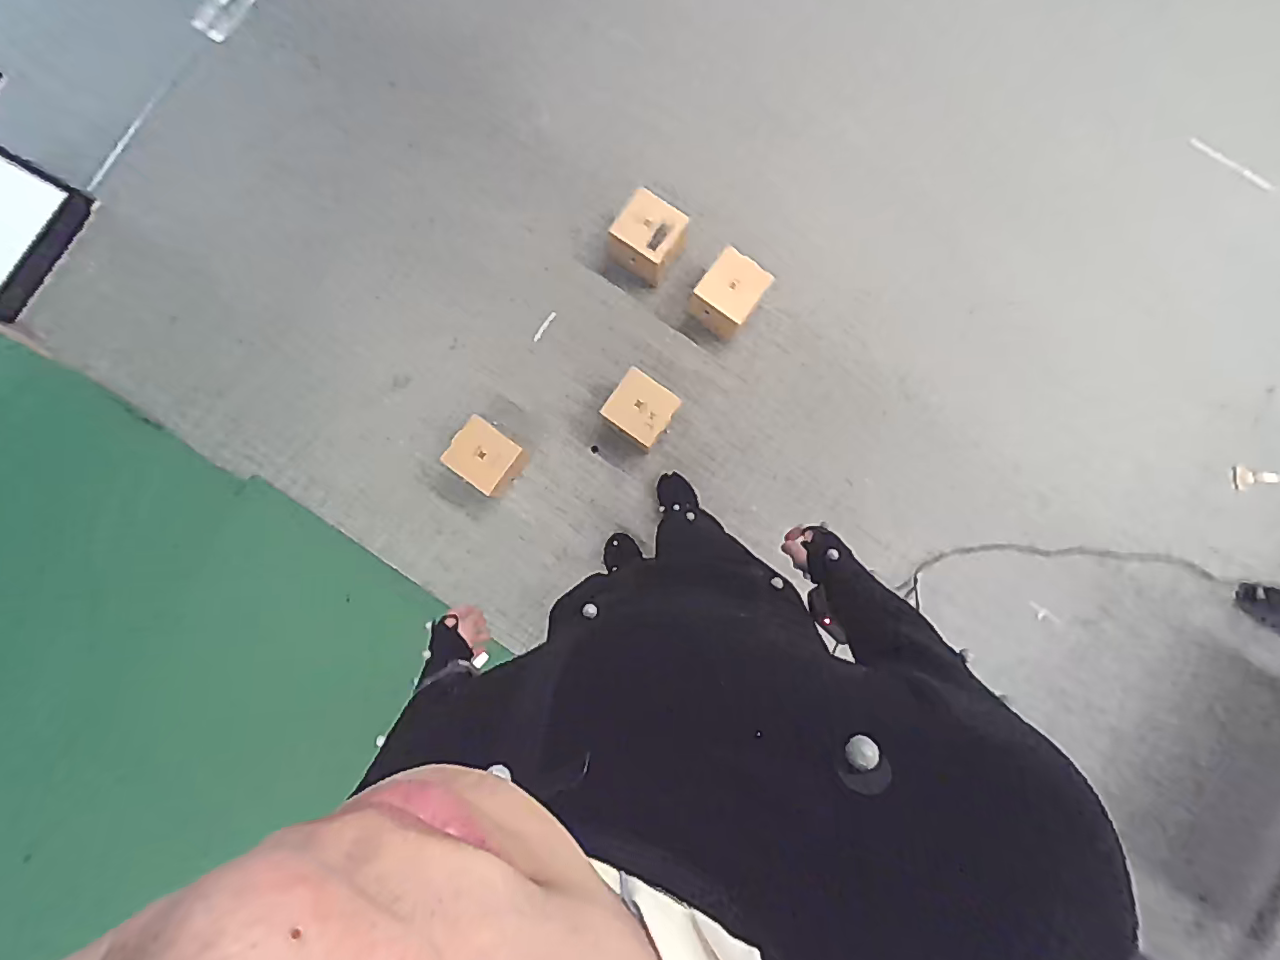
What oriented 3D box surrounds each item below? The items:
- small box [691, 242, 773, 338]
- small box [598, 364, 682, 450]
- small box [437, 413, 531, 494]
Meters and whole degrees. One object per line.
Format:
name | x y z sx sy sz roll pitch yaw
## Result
small box | 0.262 -0.549 1.589 0.168 0.176 0.179 36 87 3
small box | 0.001 -0.202 1.570 0.179 0.176 0.168 36 88 3
small box | -0.444 -0.068 1.571 0.179 0.176 0.168 37 88 2
